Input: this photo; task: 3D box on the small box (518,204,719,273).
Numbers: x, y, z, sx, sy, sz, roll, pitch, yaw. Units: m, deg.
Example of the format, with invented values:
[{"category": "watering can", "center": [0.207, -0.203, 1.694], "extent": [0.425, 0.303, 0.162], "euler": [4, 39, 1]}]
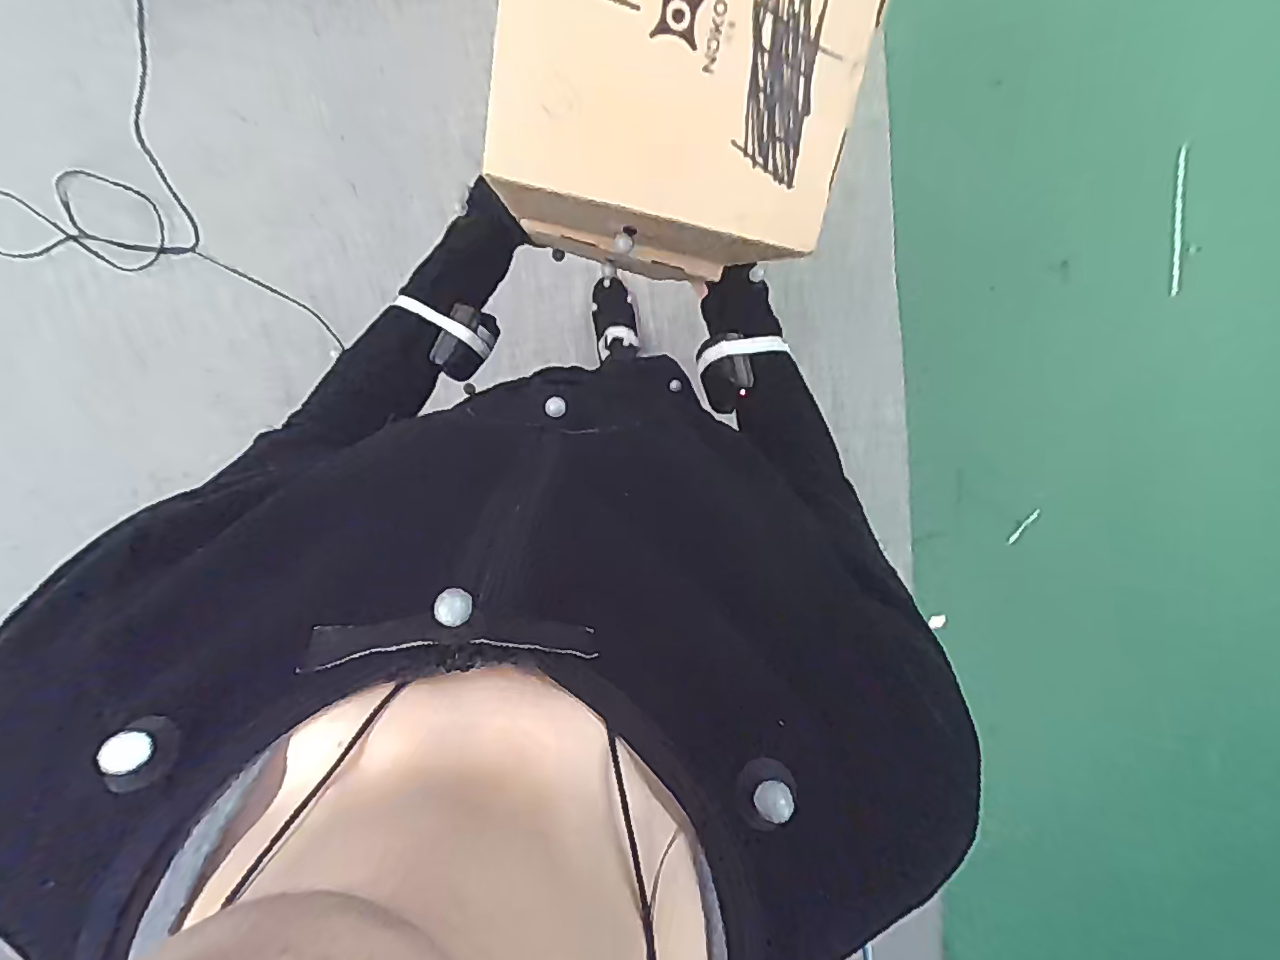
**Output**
[{"category": "small box", "center": [-0.006, -0.294, 0.475], "extent": [0.168, 0.176, 0.179], "euler": [12, 108, -12]}]

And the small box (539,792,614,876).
[{"category": "small box", "center": [-0.161, 0.931, 1.385], "extent": [0.179, 0.176, 0.168], "euler": [4, 100, -4]}]

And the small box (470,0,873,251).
[{"category": "small box", "center": [0.010, -0.241, 0.320], "extent": [0.179, 0.176, 0.168], "euler": [9, 109, -11]}]
